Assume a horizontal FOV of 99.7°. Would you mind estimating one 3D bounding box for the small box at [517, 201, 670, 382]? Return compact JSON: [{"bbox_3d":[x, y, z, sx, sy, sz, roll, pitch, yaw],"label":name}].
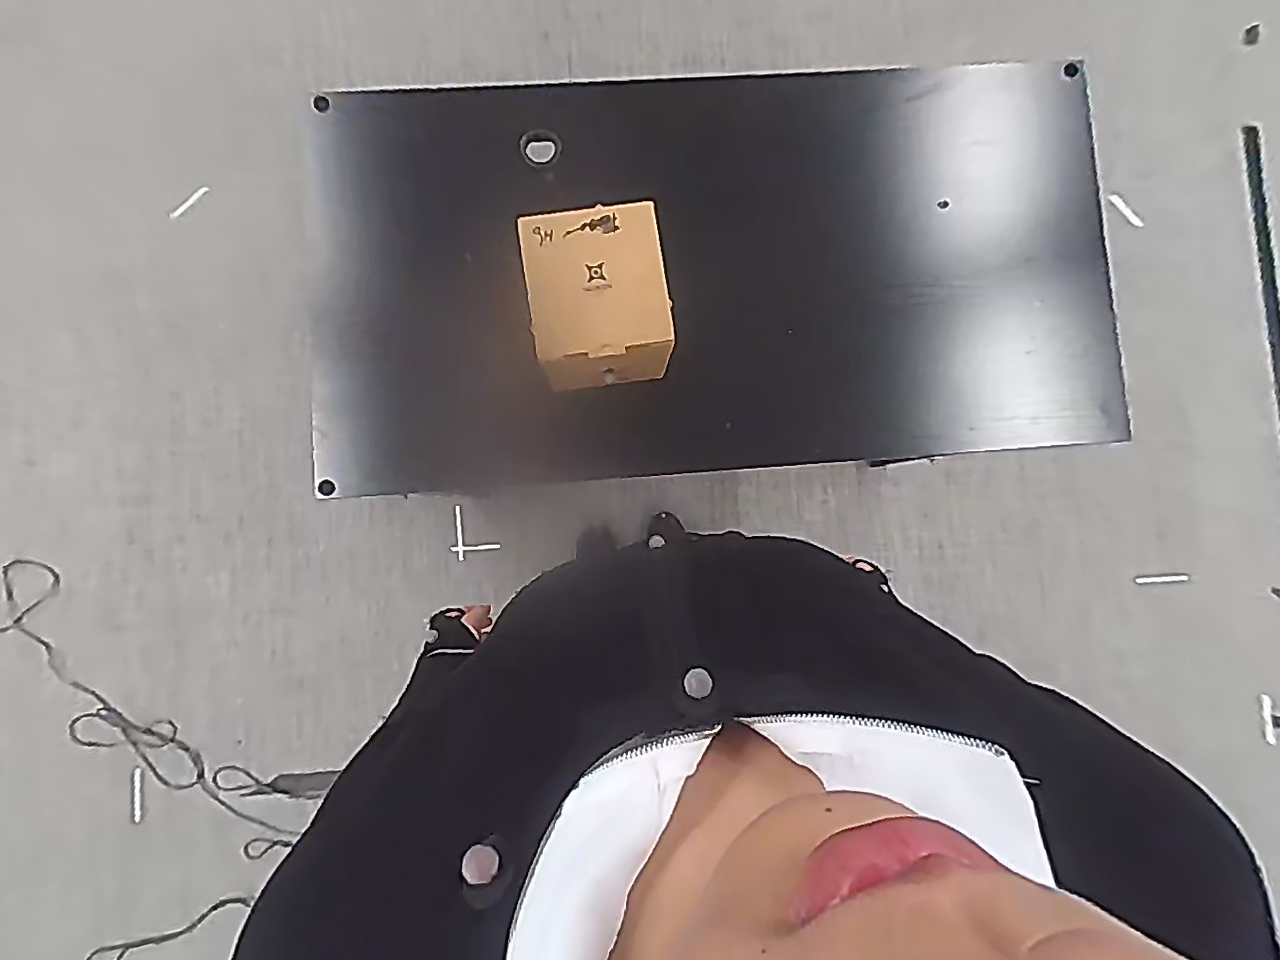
[{"bbox_3d":[-0.056,-0.235,0.722,0.168,0.176,0.179,-8,87,-2],"label":"small box"}]
